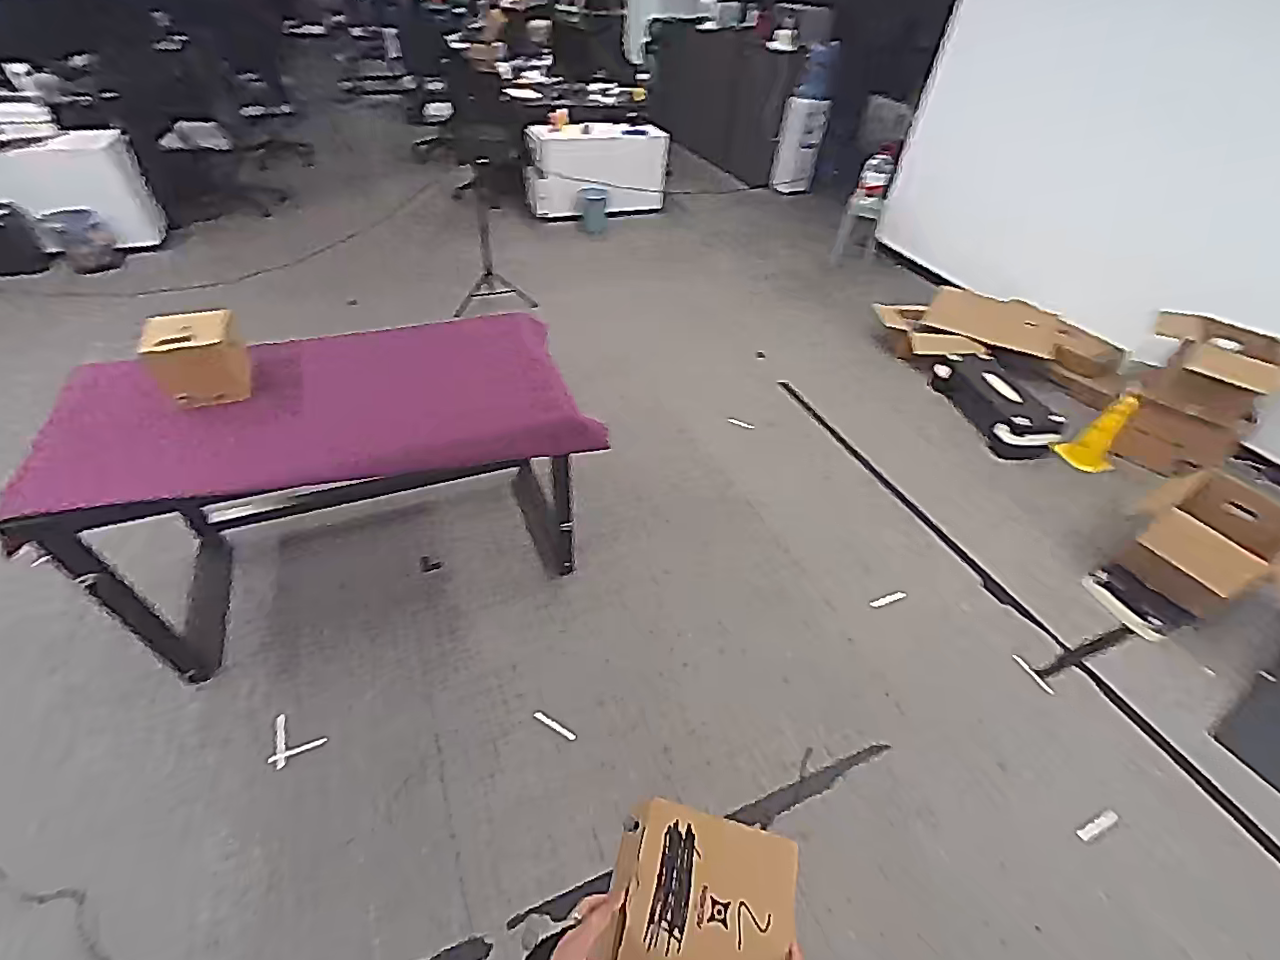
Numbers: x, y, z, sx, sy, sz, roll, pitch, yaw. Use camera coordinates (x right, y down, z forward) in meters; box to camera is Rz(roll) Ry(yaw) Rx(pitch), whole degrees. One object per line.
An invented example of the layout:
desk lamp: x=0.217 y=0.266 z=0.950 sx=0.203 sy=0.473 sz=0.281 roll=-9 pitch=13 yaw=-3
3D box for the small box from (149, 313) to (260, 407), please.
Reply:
small box: x=-1.107 y=-0.304 z=1.391 sx=0.168 sy=0.176 sz=0.179 roll=-14 pitch=47 yaw=-19
